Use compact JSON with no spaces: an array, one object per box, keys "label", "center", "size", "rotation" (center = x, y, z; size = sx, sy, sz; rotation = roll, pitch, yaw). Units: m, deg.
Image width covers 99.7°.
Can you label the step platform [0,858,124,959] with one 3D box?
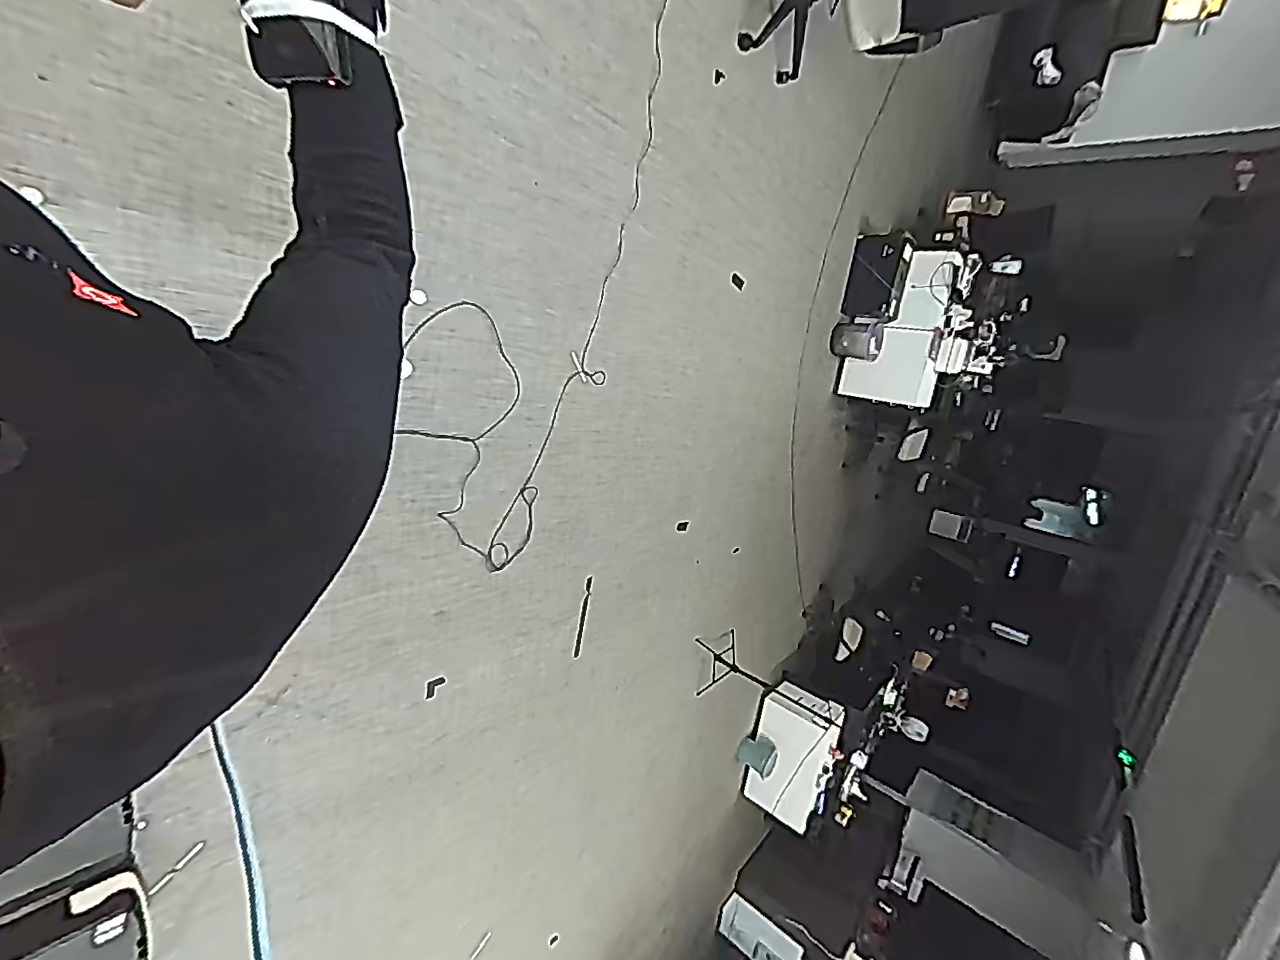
[{"label":"step platform","center":[-1.433,1.066,1.008],"size":[0.684,0.204,0.286],"rotation":[-9,112,-49]}]
